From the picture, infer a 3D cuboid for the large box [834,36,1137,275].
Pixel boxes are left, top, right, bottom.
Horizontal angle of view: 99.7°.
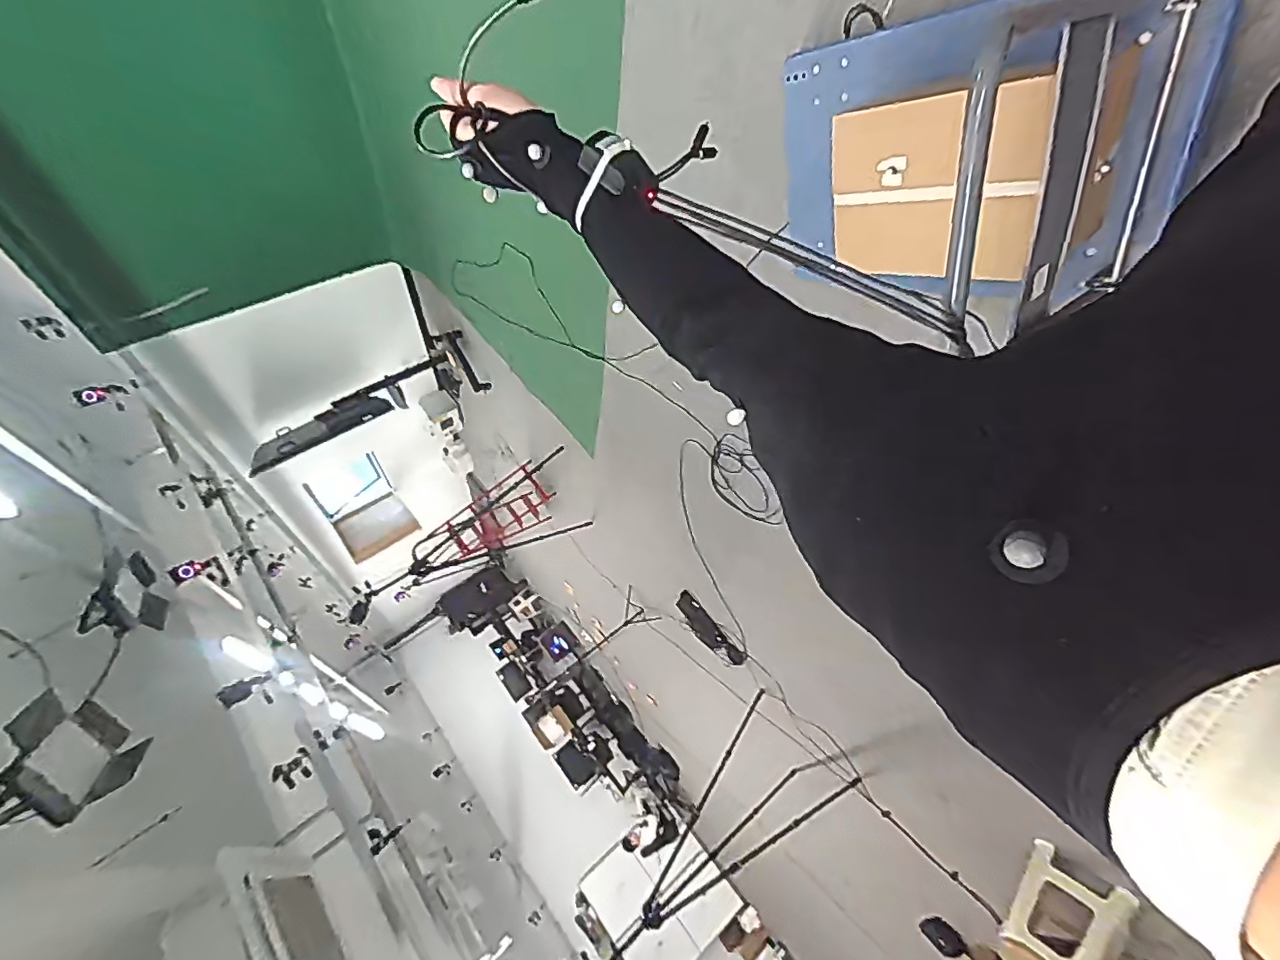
[{"bbox_3d":[0.660,-0.628,1.087,0.408,0.320,0.320,29,143,47],"label":"large box"}]
